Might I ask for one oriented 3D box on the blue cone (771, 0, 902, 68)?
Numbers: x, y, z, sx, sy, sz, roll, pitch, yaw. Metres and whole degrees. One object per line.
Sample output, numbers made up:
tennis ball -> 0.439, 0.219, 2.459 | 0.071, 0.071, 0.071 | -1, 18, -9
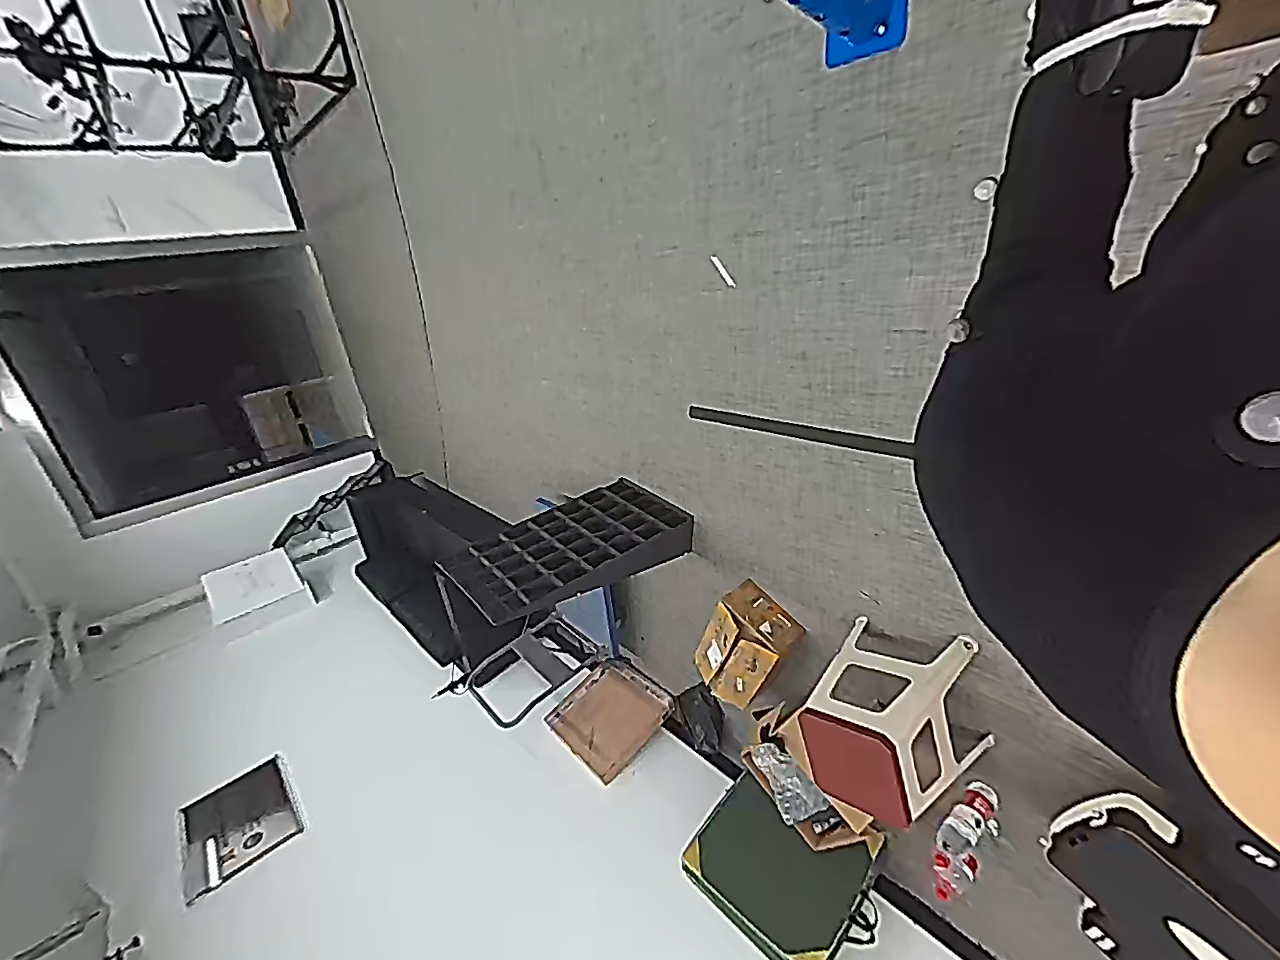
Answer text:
blue cone -> 0.401, -1.048, 1.176 | 0.192, 0.380, 0.193 | 23, 127, 45

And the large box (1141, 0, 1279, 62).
large box -> 0.547, -0.460, 0.249 | 0.408, 0.320, 0.320 | 16, 124, 45
